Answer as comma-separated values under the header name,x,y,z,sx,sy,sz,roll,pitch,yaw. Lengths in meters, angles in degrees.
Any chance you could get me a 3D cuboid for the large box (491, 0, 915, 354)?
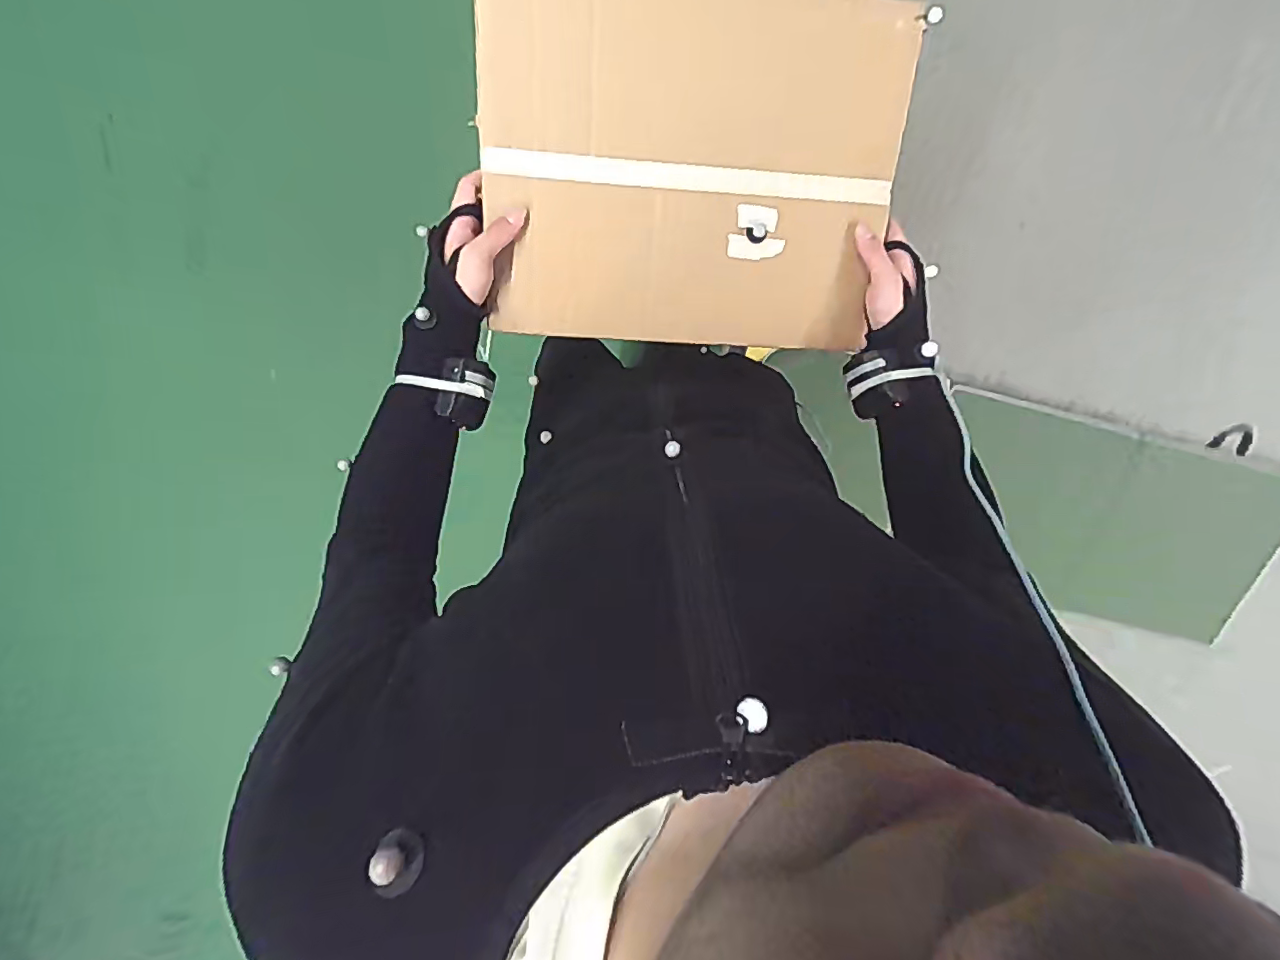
name,x,y,z,sx,sy,sz,roll,pitch,yaw
large box,0.043,-0.340,0.682,0.408,0.320,0.320,2,111,-7
